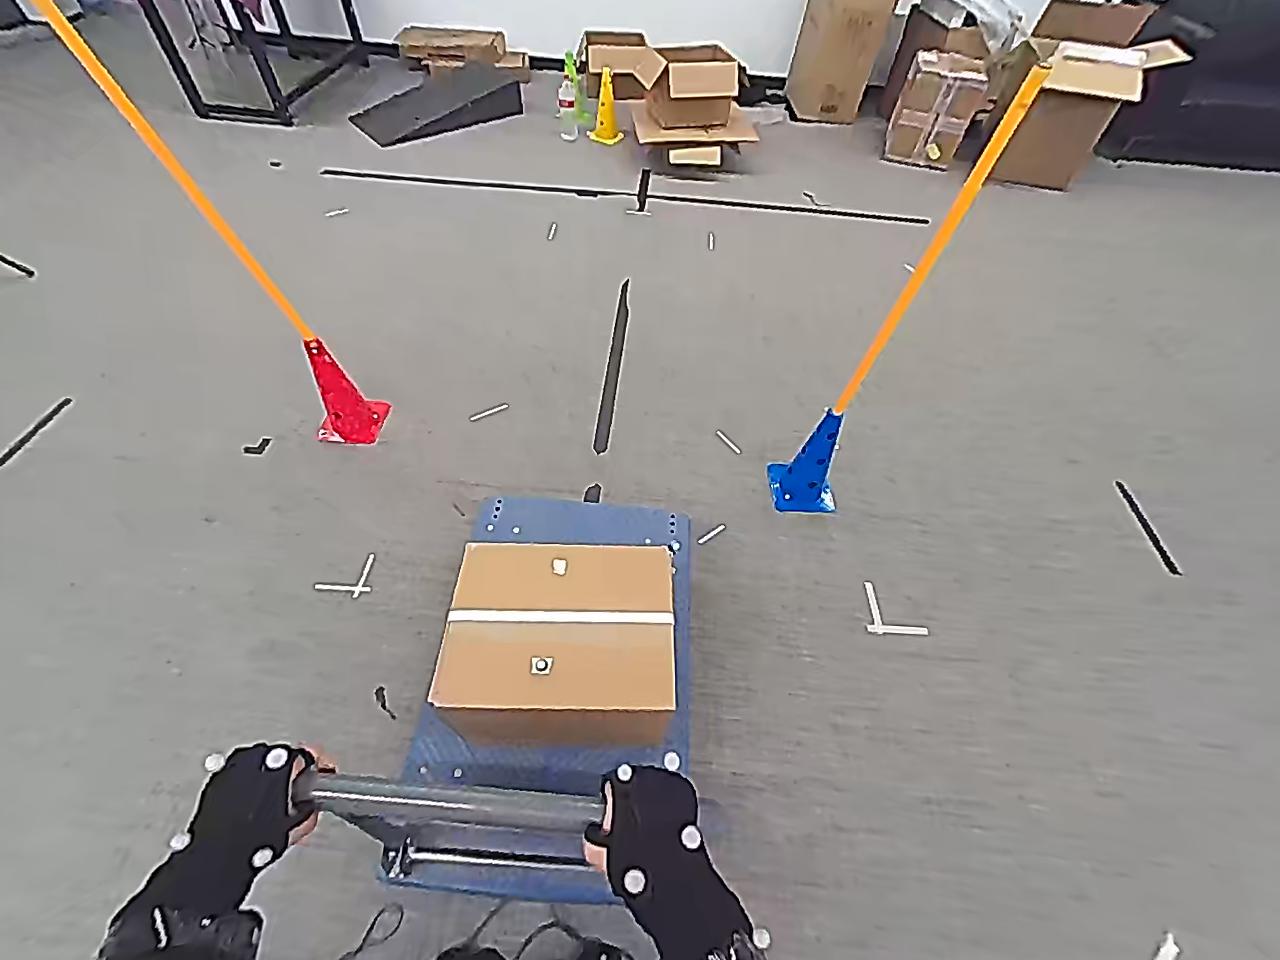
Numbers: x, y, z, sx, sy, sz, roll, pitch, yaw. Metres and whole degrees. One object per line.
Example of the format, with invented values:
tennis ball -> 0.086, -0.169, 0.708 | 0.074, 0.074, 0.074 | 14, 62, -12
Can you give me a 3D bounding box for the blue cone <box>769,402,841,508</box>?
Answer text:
blue cone -> 0.548, -0.086, 1.680 | 0.193, 0.380, 0.192 | 2, 52, -3
